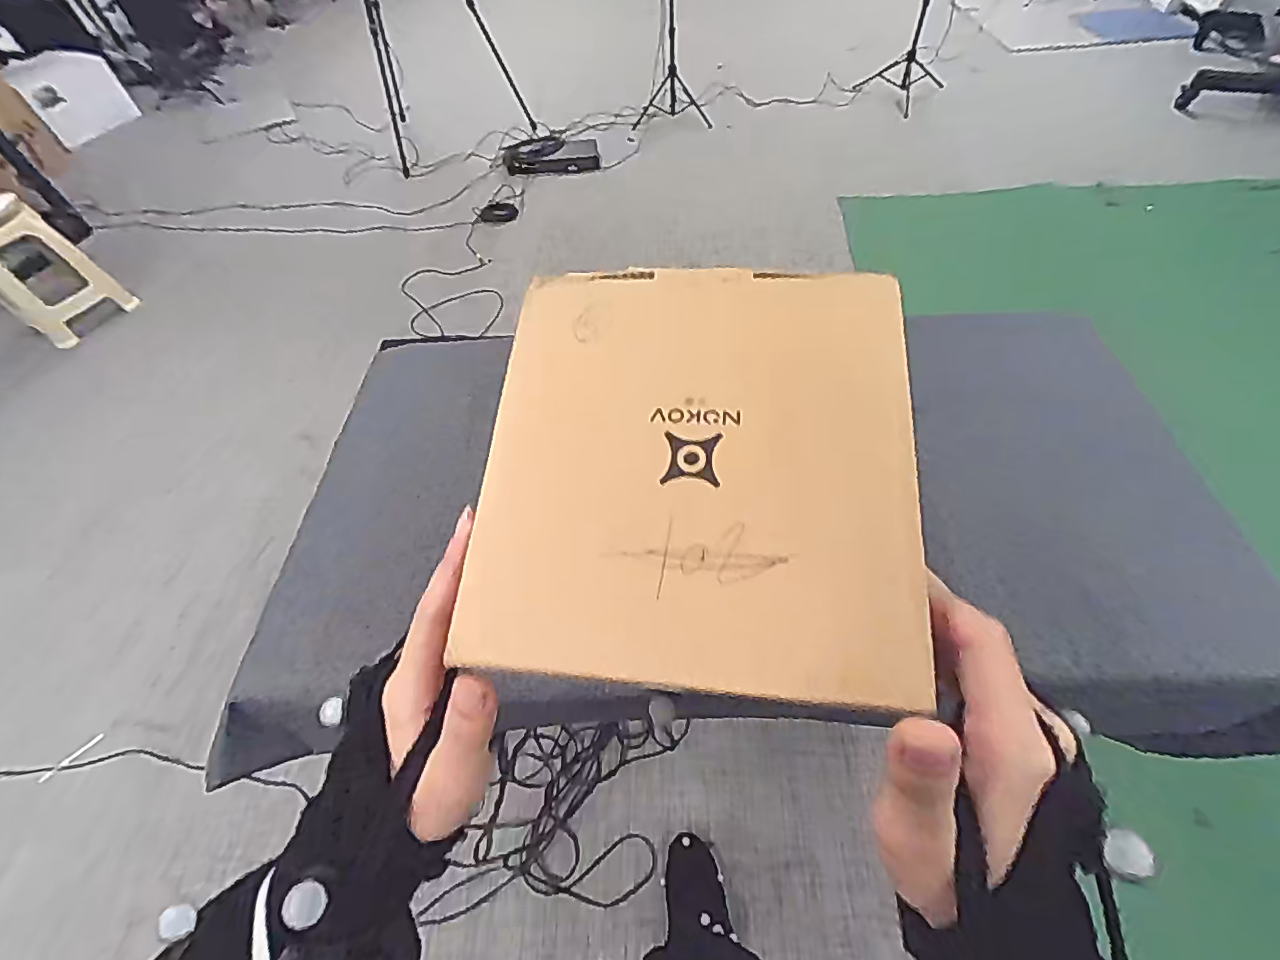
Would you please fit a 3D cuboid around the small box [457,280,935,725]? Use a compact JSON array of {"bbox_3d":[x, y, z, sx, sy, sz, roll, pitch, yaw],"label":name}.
[{"bbox_3d":[0.032,0.022,0.286,0.168,0.176,0.179,4,69,8],"label":"small box"}]
